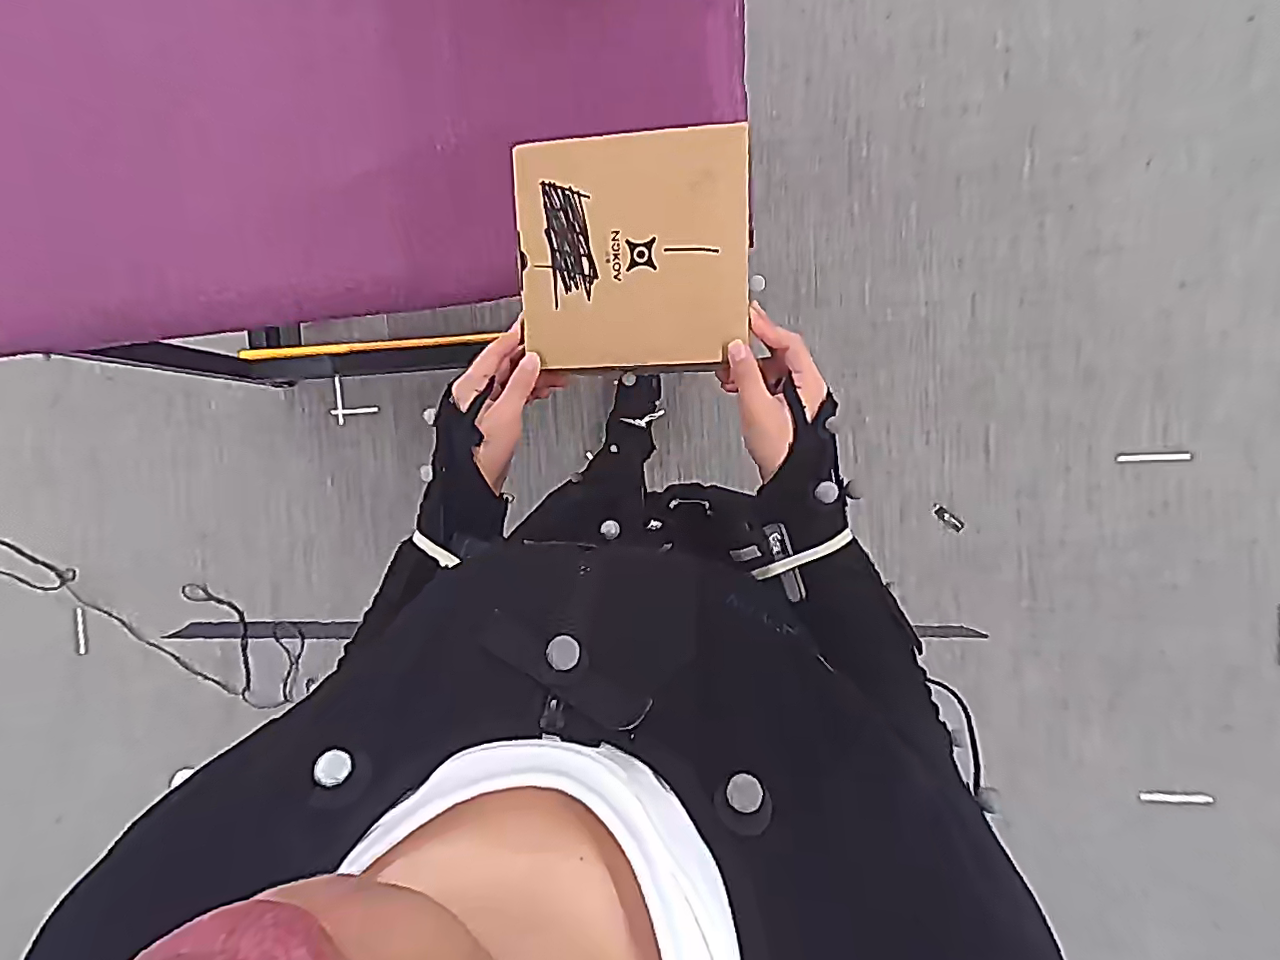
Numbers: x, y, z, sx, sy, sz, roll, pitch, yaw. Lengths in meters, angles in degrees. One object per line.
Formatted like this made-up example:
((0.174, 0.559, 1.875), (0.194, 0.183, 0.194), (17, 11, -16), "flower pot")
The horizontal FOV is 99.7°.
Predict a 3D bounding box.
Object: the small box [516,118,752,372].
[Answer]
((0.007, -0.183, 0.478), (0.179, 0.176, 0.168), (0, 99, 9), "small box")
